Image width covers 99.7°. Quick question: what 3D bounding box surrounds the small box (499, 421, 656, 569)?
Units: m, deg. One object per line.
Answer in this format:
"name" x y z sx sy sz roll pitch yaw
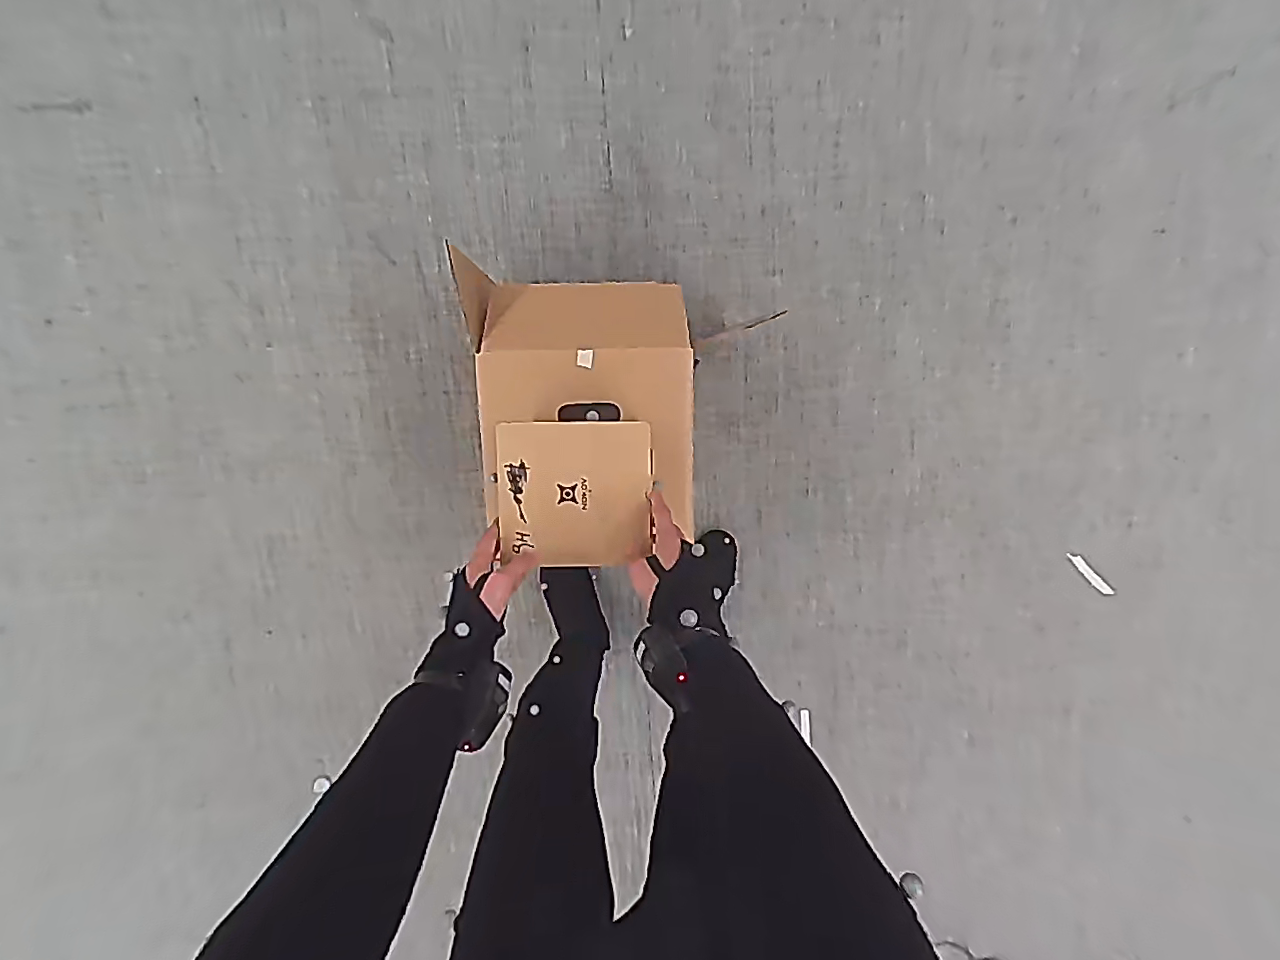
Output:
"small box" -0.073 0.010 0.683 0.179 0.176 0.168 0 96 -2
